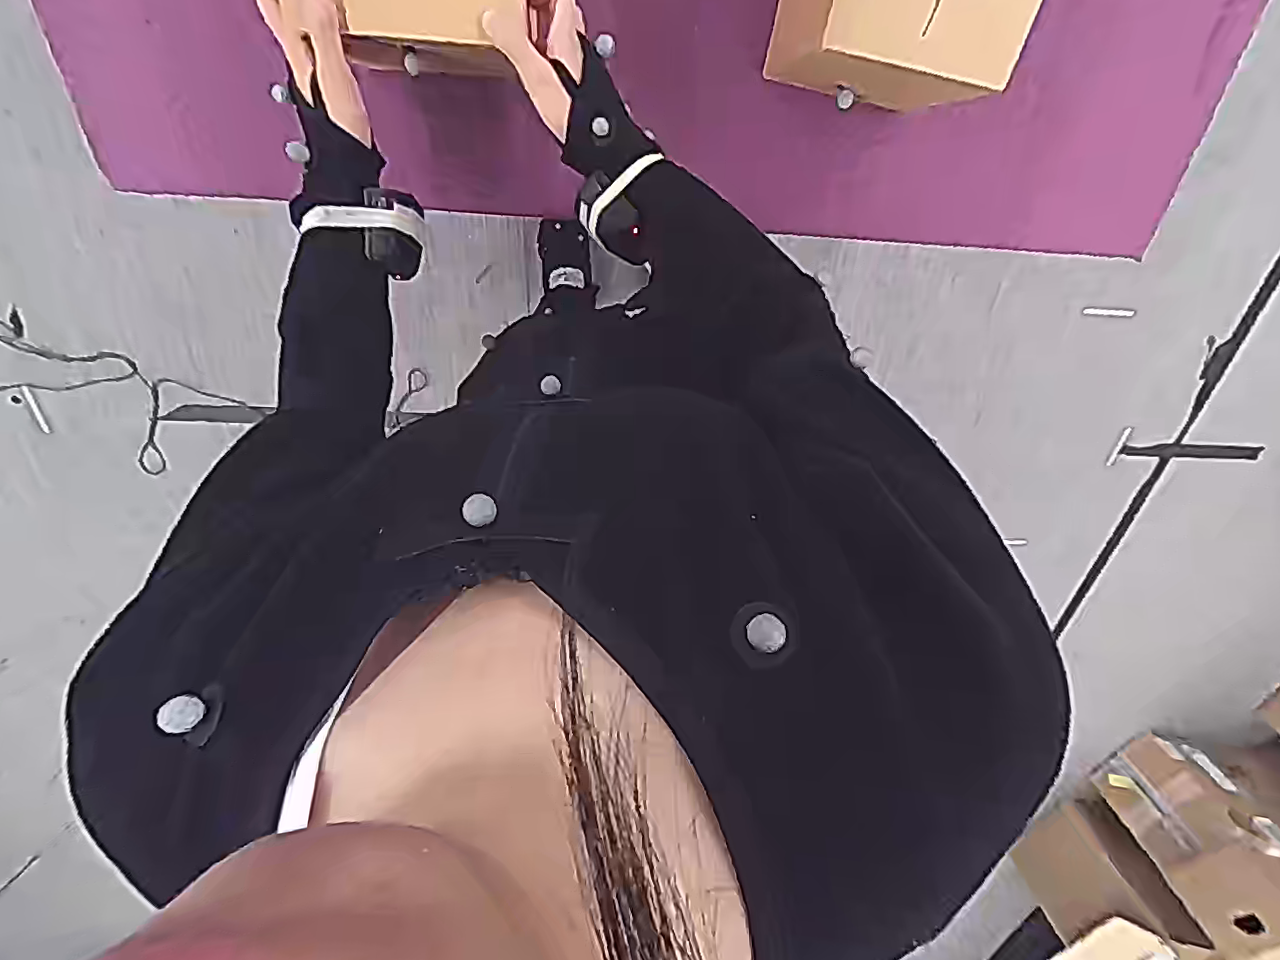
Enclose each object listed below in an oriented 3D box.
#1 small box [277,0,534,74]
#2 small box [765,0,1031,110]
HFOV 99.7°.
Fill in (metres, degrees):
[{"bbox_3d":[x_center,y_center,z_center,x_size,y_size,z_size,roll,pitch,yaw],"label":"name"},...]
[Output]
[{"bbox_3d":[-0.179,-0.441,0.434,0.179,0.176,0.168,0,120,-5],"label":"small box"},{"bbox_3d":[0.224,-0.447,0.469,0.168,0.176,0.179,7,119,-9],"label":"small box"}]
